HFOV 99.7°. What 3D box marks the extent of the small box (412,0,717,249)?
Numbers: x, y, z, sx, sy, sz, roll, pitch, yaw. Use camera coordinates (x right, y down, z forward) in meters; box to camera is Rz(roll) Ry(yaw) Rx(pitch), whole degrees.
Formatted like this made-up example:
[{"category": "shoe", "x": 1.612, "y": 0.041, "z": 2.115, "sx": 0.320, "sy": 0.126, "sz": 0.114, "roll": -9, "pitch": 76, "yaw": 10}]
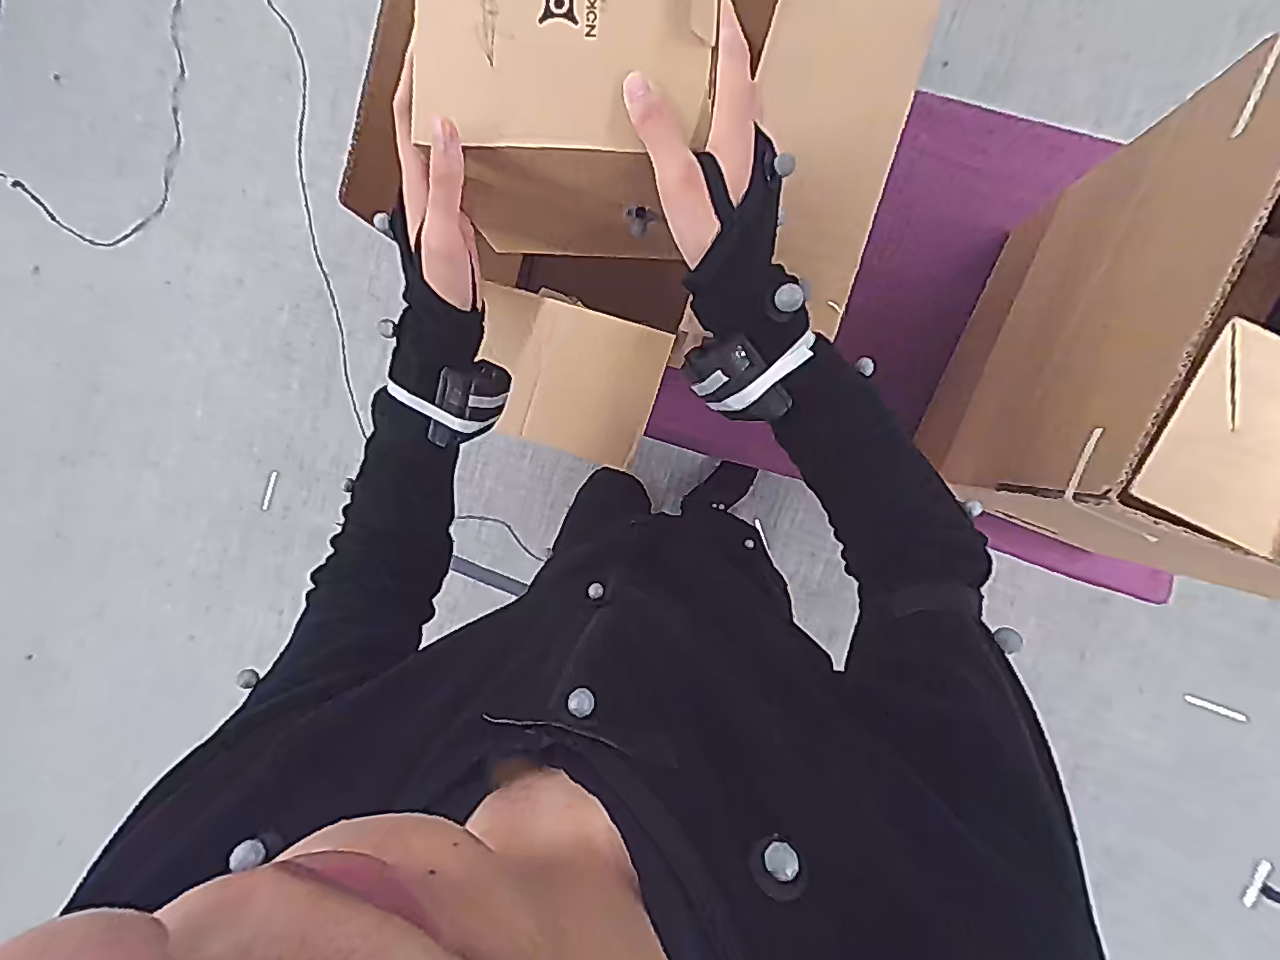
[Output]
[{"category": "small box", "x": -0.040, "y": -0.283, "z": 0.392, "sx": 0.179, "sy": 0.176, "sz": 0.168, "roll": 3, "pitch": 92, "yaw": 2}]
